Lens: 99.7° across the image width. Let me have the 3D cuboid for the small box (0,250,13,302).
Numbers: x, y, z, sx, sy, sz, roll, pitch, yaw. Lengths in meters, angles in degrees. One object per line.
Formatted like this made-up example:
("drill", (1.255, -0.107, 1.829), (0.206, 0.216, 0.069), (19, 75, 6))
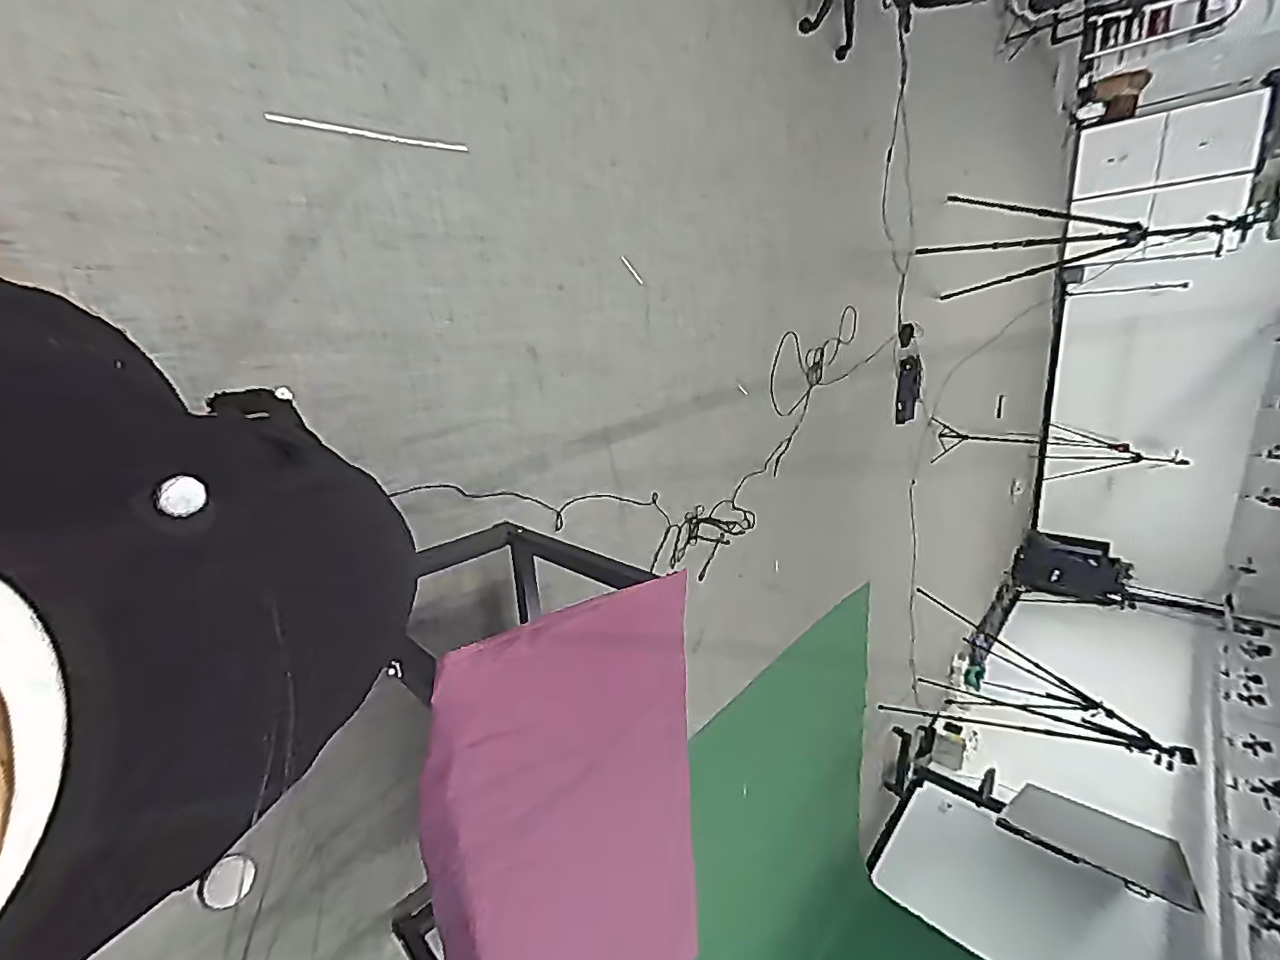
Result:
("small box", (-1.120, -0.373, 0.833), (0.168, 0.176, 0.179), (-18, 112, -42))
